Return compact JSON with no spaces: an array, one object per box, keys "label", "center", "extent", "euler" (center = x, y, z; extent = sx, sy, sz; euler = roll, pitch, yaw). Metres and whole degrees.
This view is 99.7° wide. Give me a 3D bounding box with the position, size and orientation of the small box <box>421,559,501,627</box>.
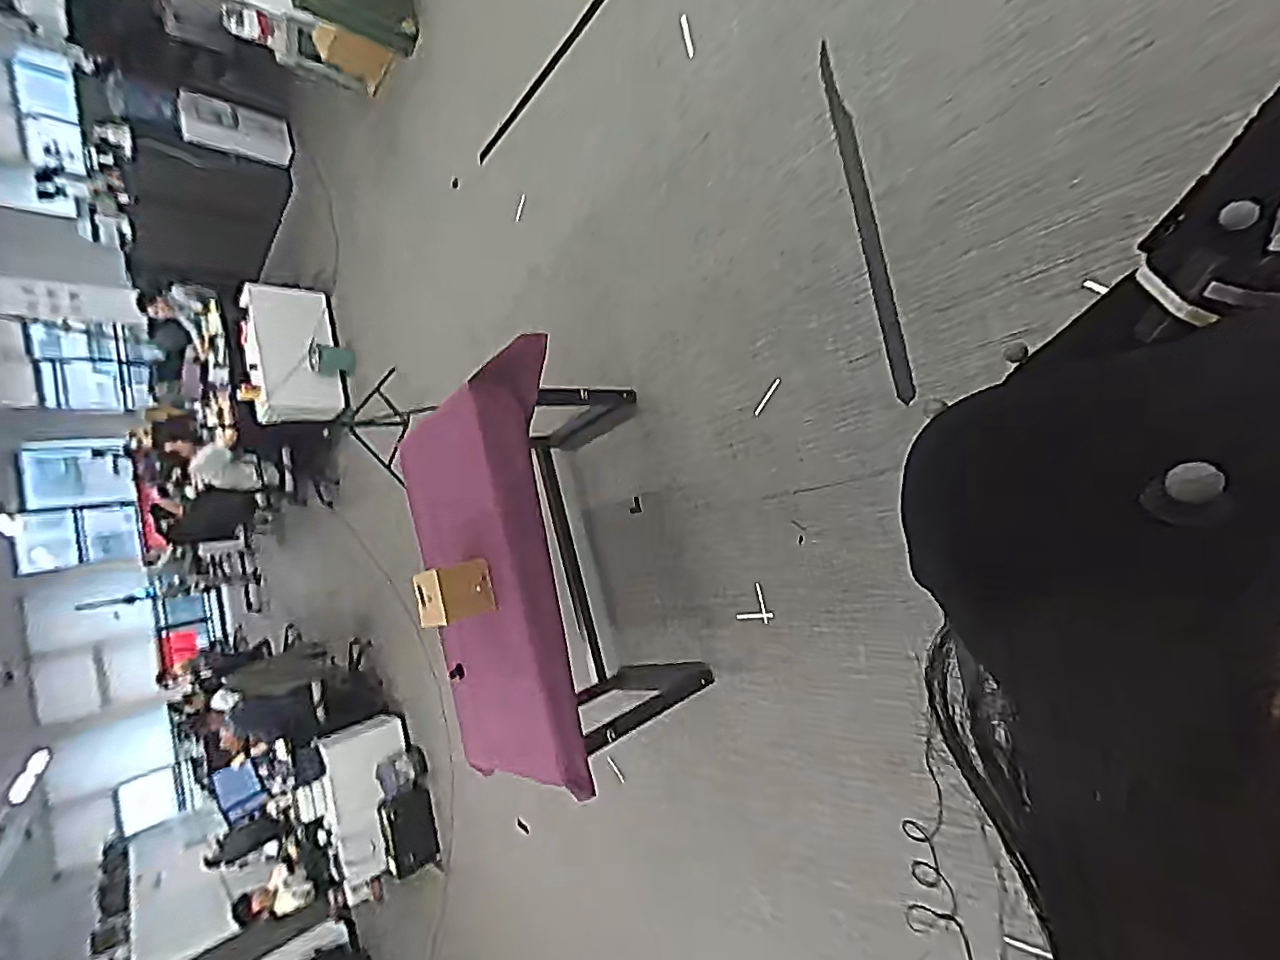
[{"label":"small box","center":[-0.556,0.351,1.684],"extent":[0.179,0.176,0.168],"euler":[-21,81,45]}]
